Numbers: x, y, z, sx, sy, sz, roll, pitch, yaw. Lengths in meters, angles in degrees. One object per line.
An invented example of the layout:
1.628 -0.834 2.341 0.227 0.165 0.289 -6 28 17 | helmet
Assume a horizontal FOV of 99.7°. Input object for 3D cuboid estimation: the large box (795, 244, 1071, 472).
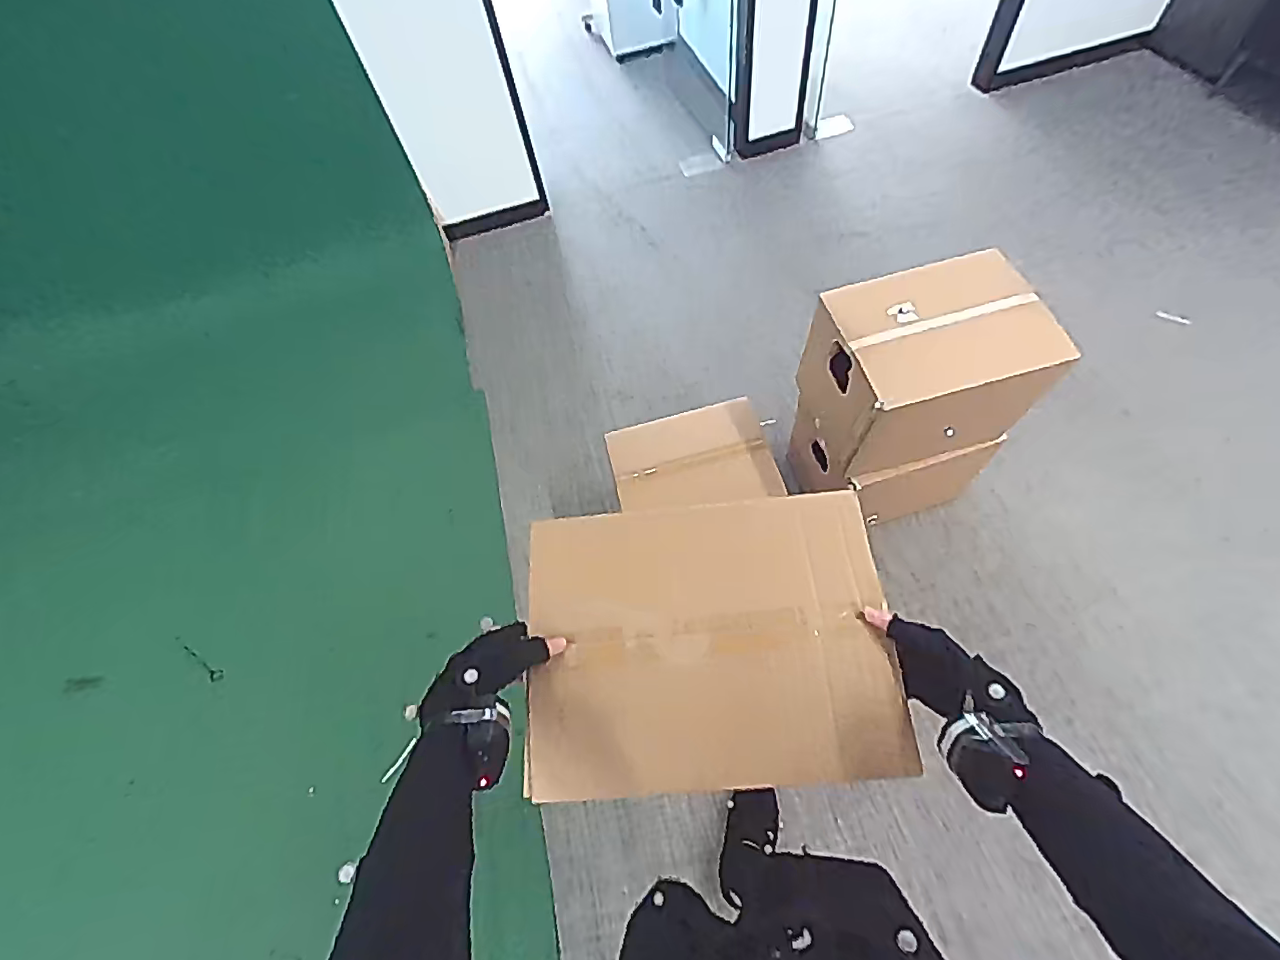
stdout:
0.616 -0.259 1.227 0.408 0.320 0.320 -16 64 0 | large box
